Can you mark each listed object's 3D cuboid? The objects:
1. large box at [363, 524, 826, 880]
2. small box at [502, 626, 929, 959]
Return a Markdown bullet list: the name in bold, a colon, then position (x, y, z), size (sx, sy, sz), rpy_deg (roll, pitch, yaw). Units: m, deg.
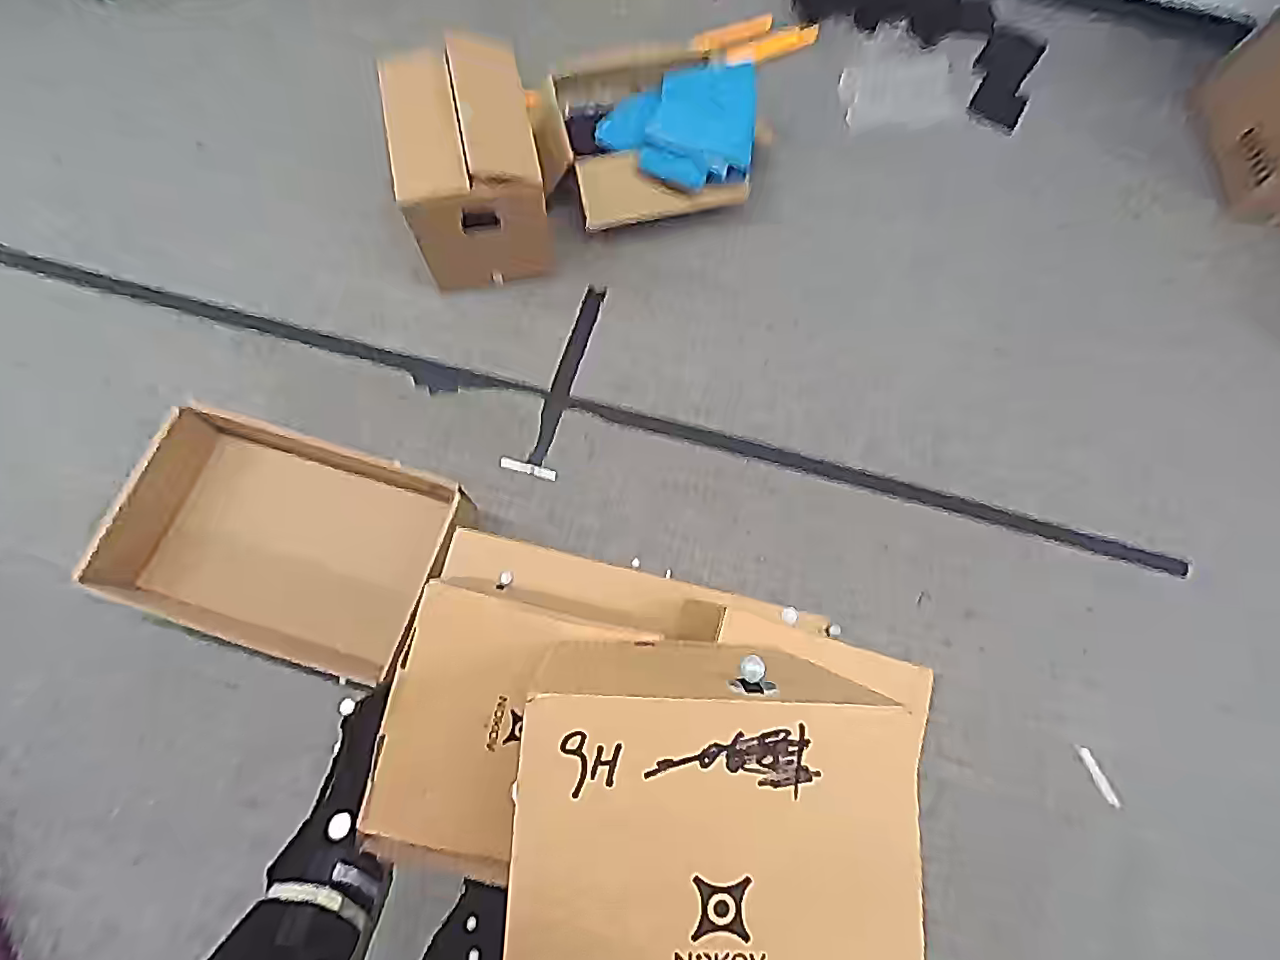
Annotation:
- **large box**: position (-0.043, 0.266, 0.672), size (0.408, 0.320, 0.320), rpy_deg (15, 77, -3)
- **small box**: position (0.025, 0.181, 0.287), size (0.168, 0.176, 0.179), rpy_deg (4, 81, -4)
